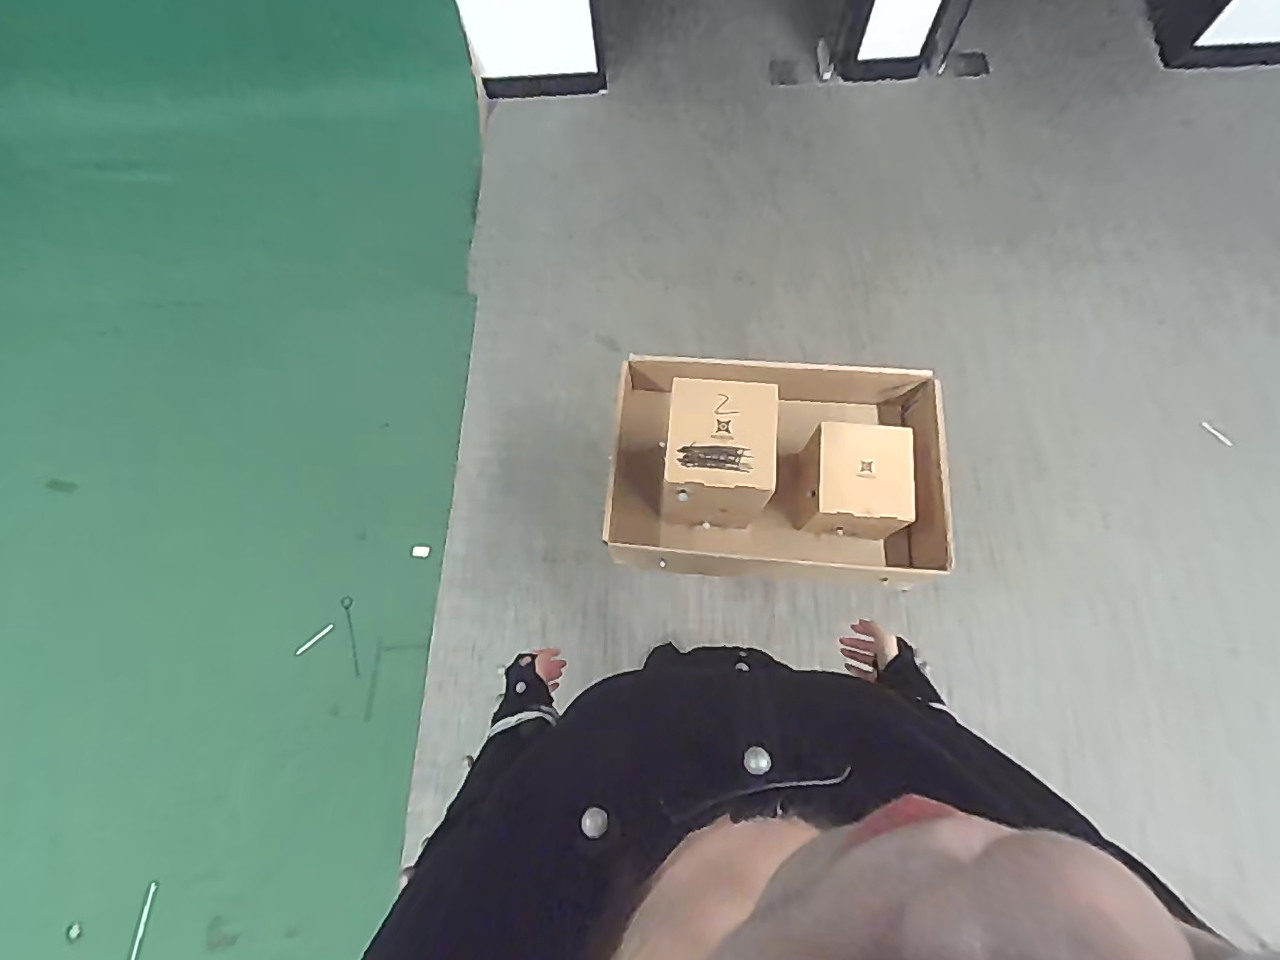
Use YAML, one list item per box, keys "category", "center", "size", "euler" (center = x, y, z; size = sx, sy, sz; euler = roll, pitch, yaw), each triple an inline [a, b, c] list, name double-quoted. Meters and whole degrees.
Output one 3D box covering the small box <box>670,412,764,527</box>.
- category: "small box"
  center: [0.145, -0.016, 1.052]
  size: [0.168, 0.176, 0.179]
  euler: [3, 74, 4]
